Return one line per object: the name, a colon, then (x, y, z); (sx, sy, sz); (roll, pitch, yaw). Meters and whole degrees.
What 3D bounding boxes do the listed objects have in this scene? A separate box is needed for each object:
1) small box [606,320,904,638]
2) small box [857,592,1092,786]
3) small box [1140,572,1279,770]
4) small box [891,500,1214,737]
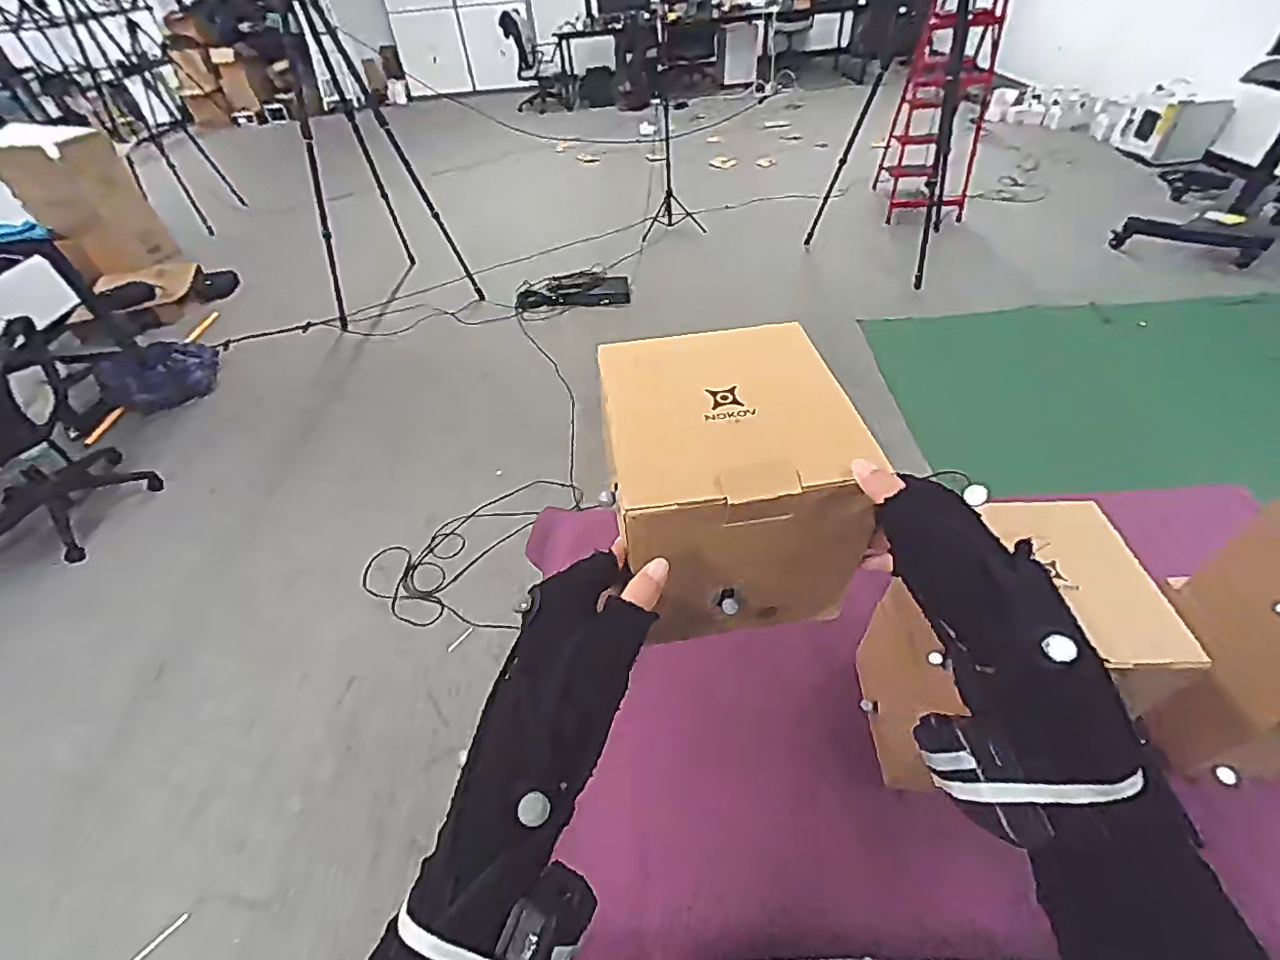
small box: (0.066, -0.001, 0.425); (0.168, 0.176, 0.179); (-7, 49, -4)
small box: (0.378, 0.254, 0.655); (0.168, 0.176, 0.179); (0, 47, 5)
small box: (0.720, 0.230, 0.641); (0.168, 0.176, 0.179); (1, 47, 5)
small box: (0.374, 0.140, 0.538); (0.168, 0.176, 0.179); (-1, 46, 4)
